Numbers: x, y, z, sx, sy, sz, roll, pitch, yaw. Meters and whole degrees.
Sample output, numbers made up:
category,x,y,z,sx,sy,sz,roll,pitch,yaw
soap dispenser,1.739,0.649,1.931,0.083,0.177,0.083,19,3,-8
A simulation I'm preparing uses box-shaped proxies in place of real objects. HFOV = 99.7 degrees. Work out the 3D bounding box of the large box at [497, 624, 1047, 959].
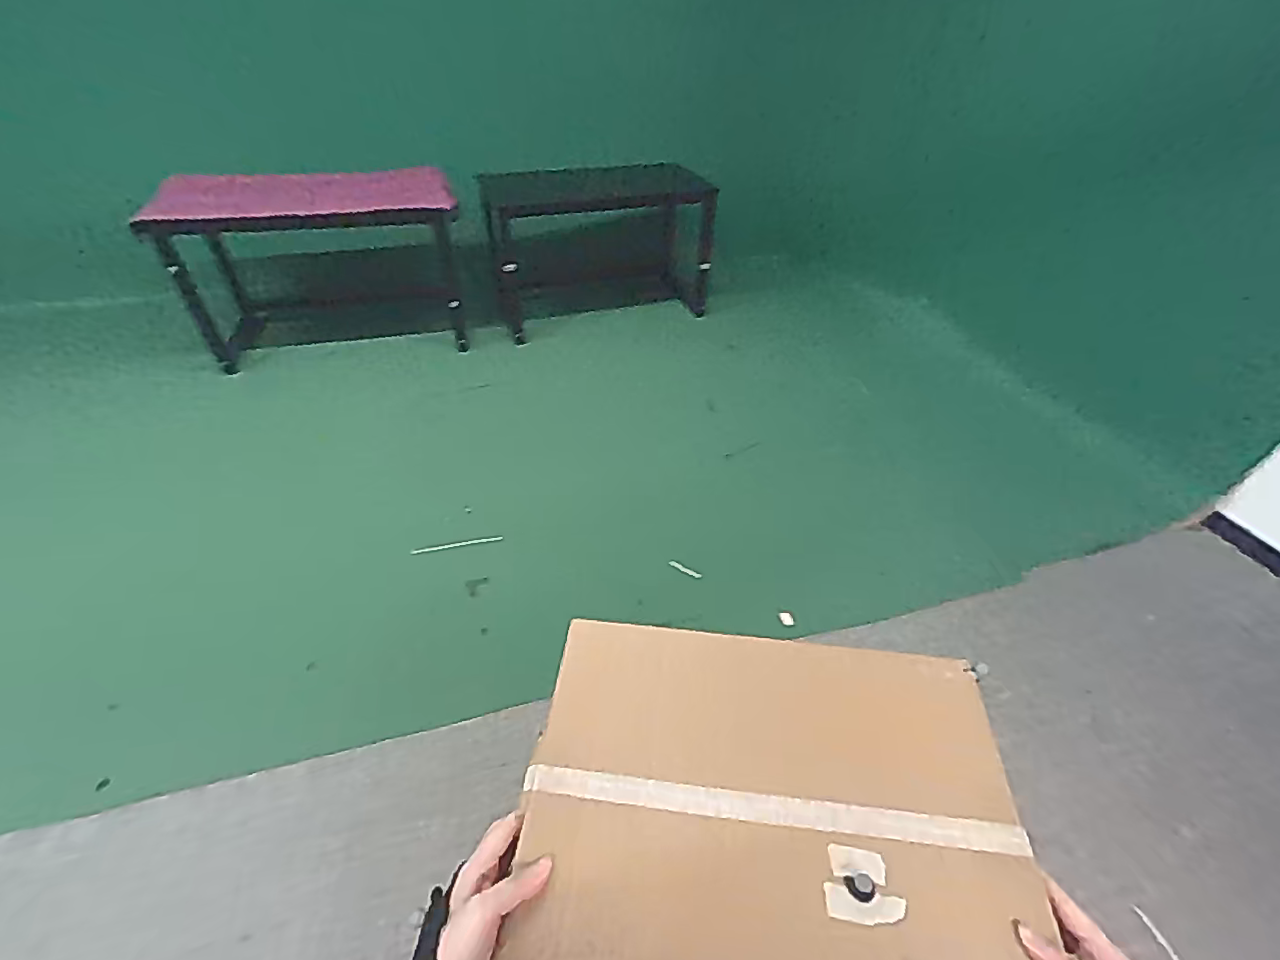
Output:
category,x,y,z,sx,sy,sz,roll,pitch,yaw
large box,0.104,0.380,0.566,0.408,0.320,0.320,4,46,5
